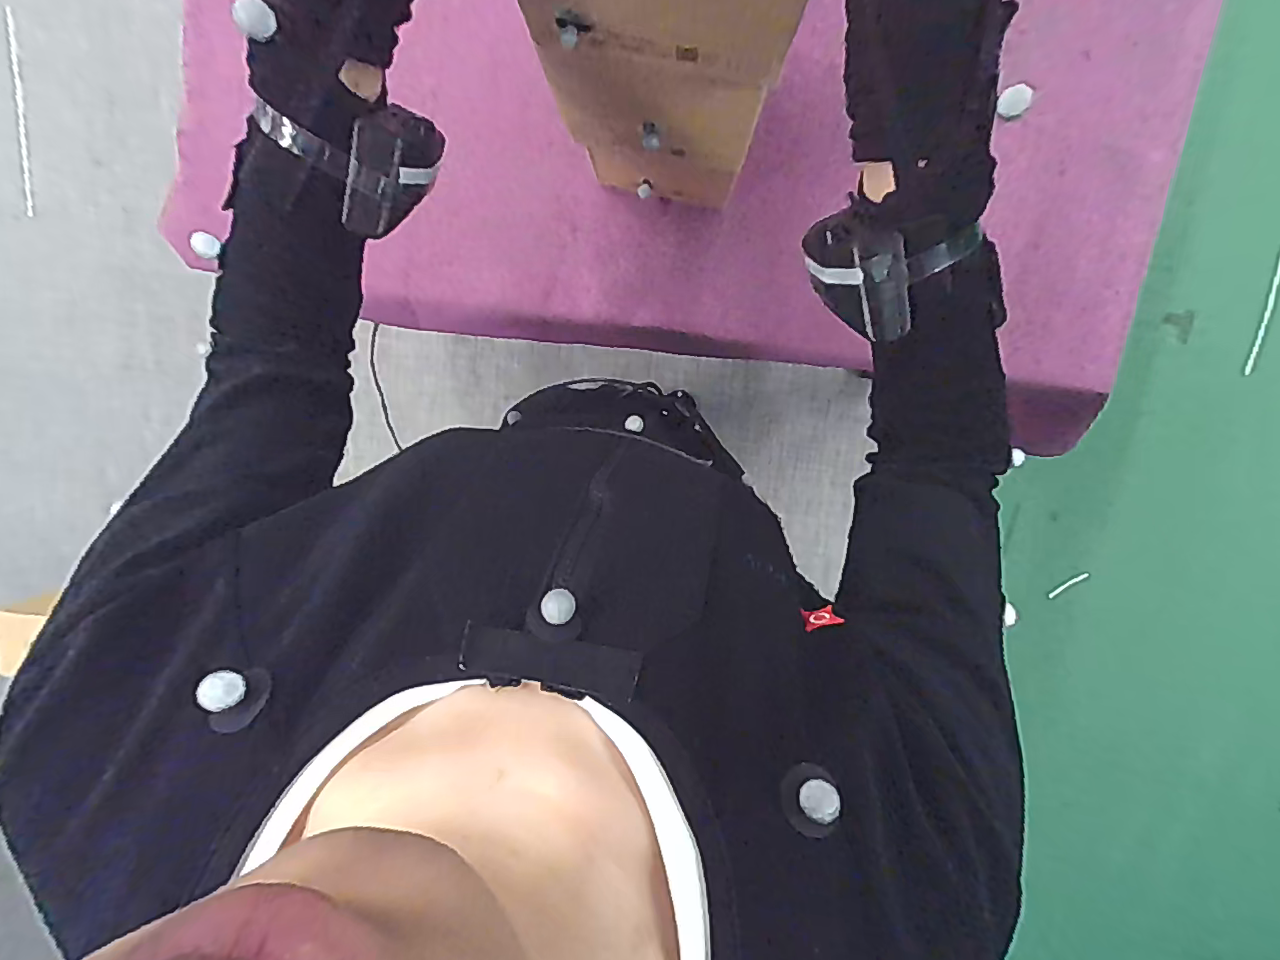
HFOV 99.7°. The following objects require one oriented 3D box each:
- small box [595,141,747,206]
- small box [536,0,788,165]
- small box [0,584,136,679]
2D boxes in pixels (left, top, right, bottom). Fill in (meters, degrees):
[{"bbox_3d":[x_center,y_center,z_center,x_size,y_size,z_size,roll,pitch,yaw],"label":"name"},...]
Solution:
[{"bbox_3d":[0.042,-0.427,0.584,0.168,0.176,0.179,12,100,1],"label":"small box"},{"bbox_3d":[0.028,-0.386,0.425,0.168,0.176,0.179,10,100,1],"label":"small box"},{"bbox_3d":[-1.413,0.367,1.339,0.179,0.176,0.168,6,100,2],"label":"small box"}]
